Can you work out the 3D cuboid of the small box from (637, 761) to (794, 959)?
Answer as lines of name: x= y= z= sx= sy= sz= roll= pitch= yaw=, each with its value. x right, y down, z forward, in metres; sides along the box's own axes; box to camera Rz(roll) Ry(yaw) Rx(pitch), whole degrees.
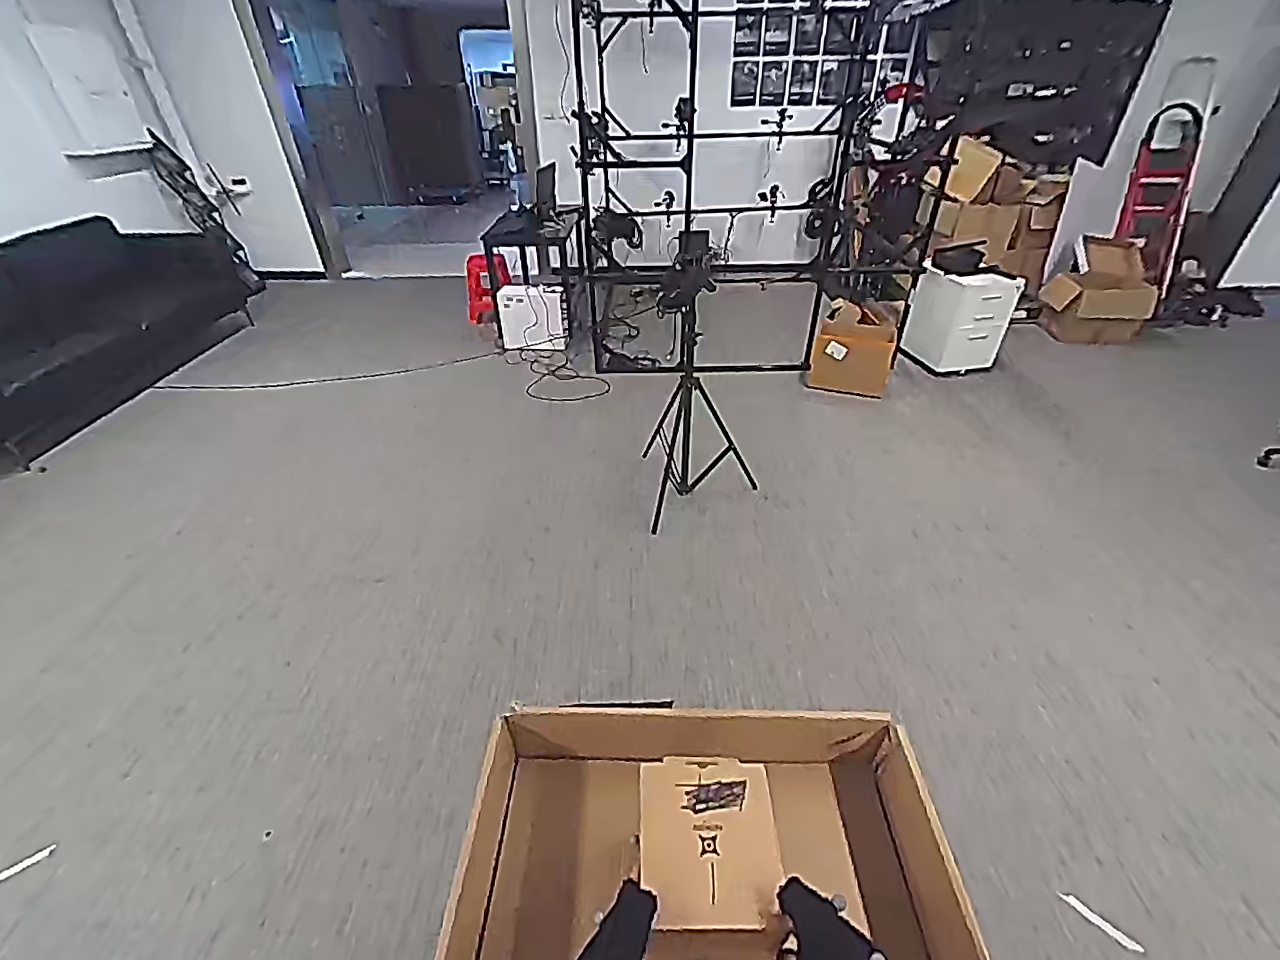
small box: x=0.081 y=0.487 z=0.687 sx=0.168 sy=0.176 sz=0.179 roll=1 pitch=36 yaw=-1
